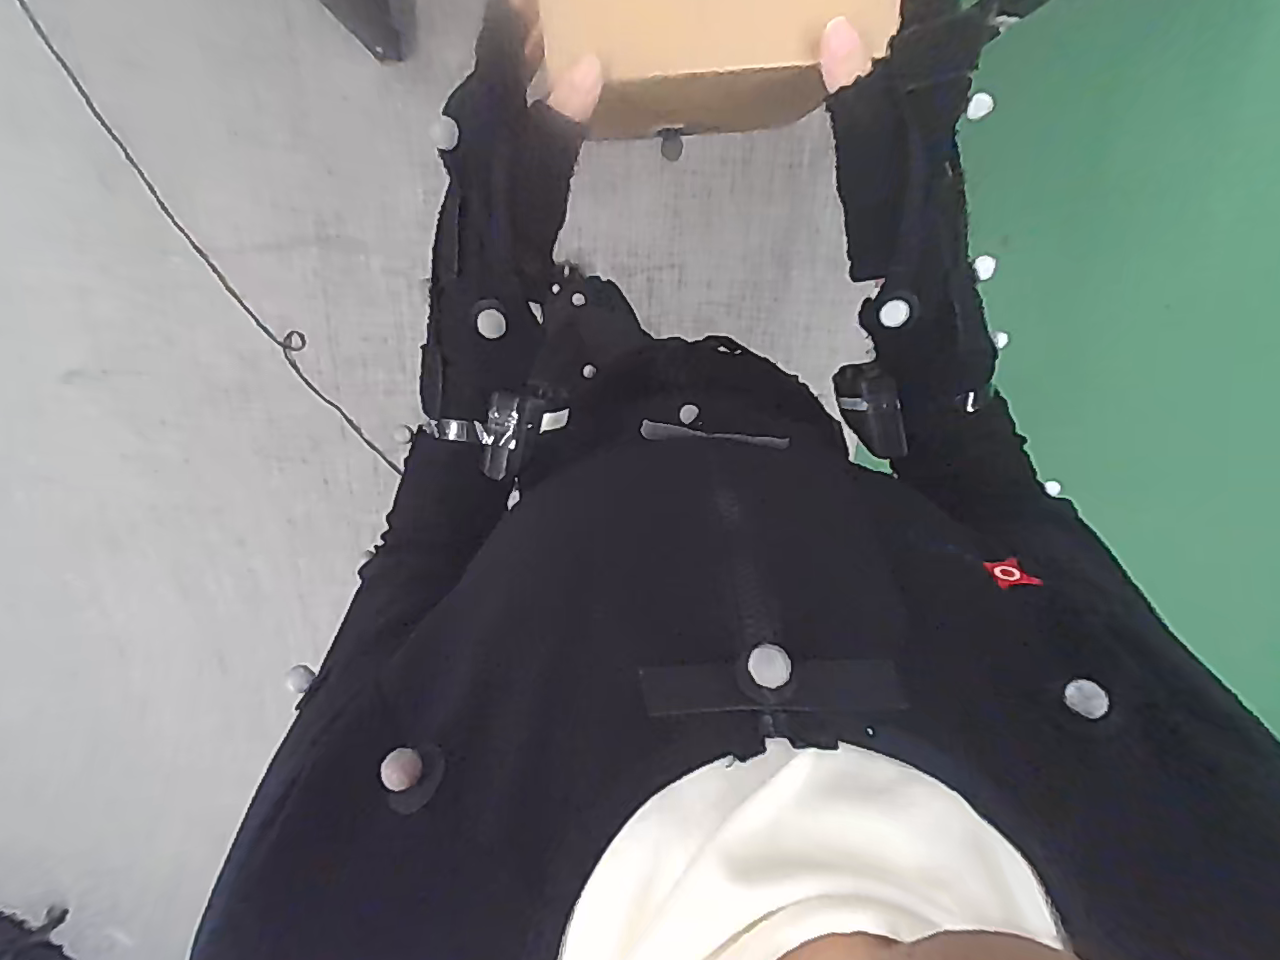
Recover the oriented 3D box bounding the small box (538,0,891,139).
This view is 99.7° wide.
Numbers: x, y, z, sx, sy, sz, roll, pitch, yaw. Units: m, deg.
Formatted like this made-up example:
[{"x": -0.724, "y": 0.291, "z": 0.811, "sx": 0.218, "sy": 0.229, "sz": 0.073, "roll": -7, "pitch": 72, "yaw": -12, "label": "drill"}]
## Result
[{"x": 0.027, "y": -0.309, "z": 0.297, "sx": 0.168, "sy": 0.176, "sz": 0.179, "roll": -5, "pitch": 114, "yaw": -1, "label": "small box"}]
